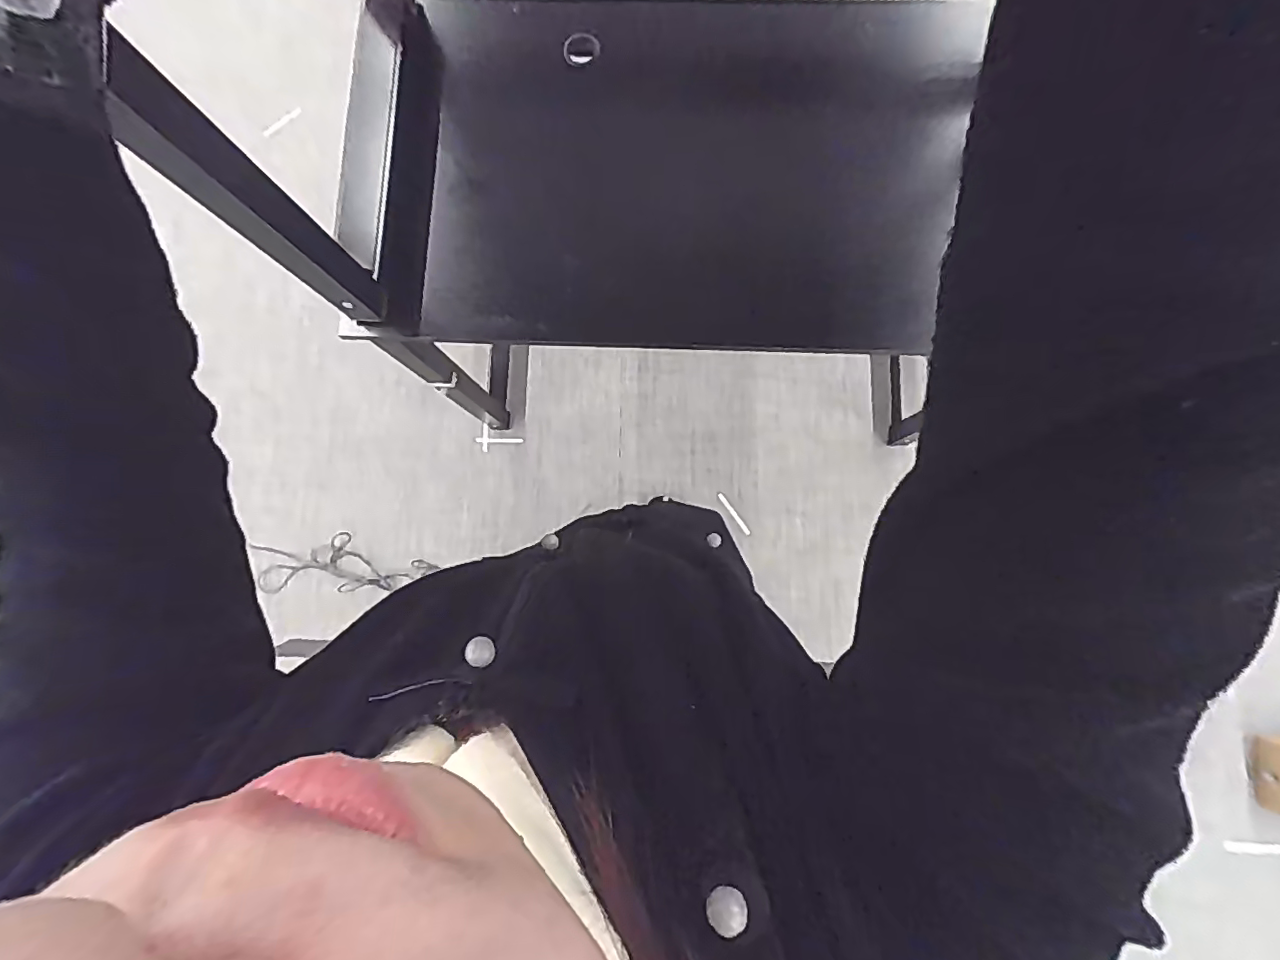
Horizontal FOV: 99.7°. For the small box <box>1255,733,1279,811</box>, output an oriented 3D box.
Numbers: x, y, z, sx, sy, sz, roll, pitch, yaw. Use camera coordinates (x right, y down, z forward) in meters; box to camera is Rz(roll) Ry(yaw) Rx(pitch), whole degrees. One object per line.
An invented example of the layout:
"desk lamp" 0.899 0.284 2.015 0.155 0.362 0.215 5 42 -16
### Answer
"small box" 1.654 0.735 1.301 0.168 0.176 0.179 2 84 2
